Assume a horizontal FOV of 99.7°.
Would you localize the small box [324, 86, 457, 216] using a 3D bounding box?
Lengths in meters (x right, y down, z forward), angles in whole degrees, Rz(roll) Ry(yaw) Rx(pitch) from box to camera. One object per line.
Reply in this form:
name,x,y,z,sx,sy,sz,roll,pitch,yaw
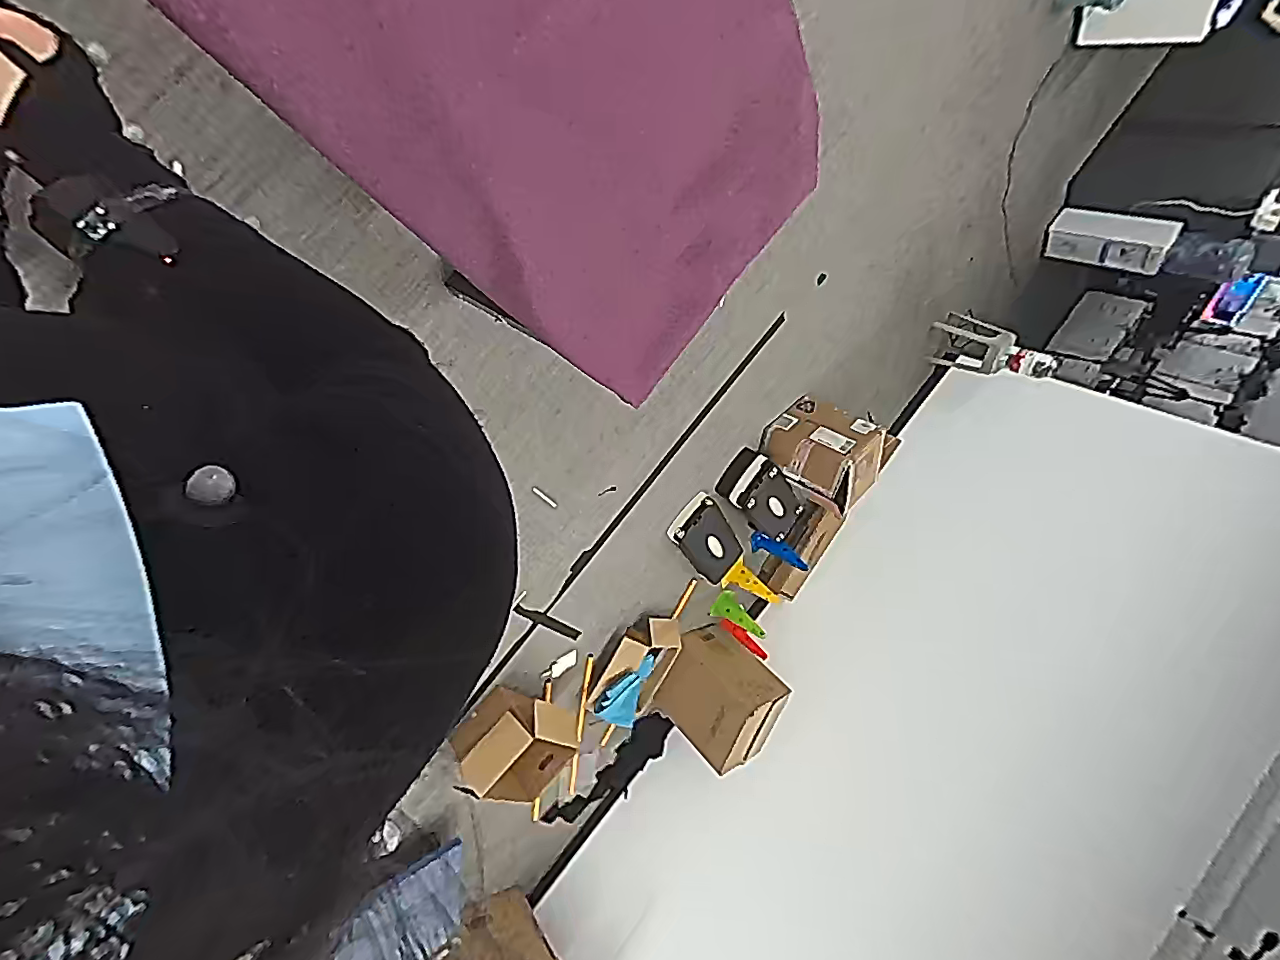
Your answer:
small box,-0.533,-0.695,1.145,0.179,0.176,0.168,-49,142,-9
